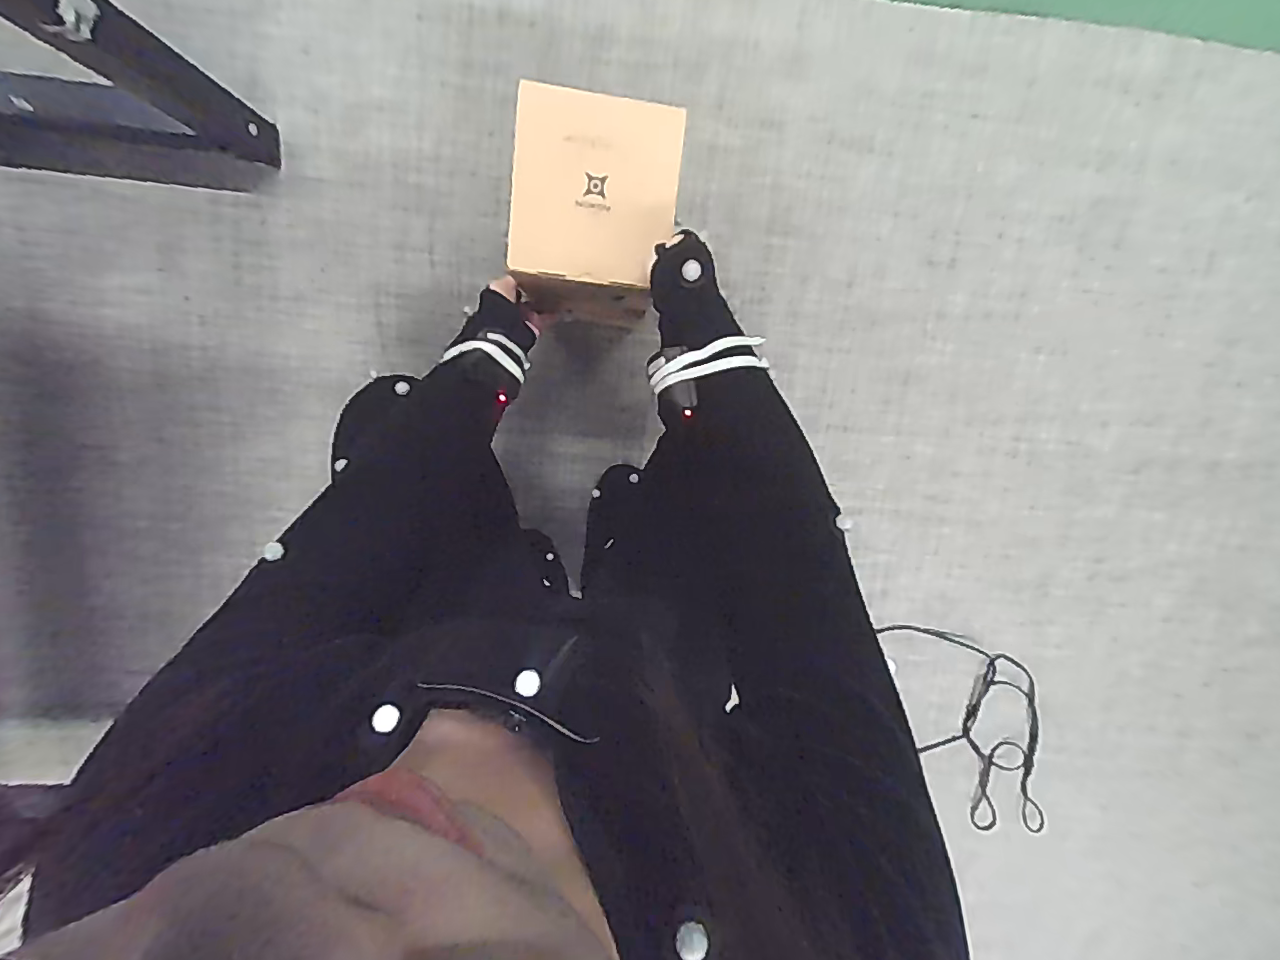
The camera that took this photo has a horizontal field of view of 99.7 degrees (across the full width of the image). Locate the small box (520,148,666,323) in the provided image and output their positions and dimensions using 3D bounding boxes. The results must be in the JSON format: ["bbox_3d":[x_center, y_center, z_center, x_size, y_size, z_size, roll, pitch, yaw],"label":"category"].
[{"bbox_3d":[-0.068,-0.332,0.775,0.168,0.176,0.179,9,99,-8],"label":"small box"}]
